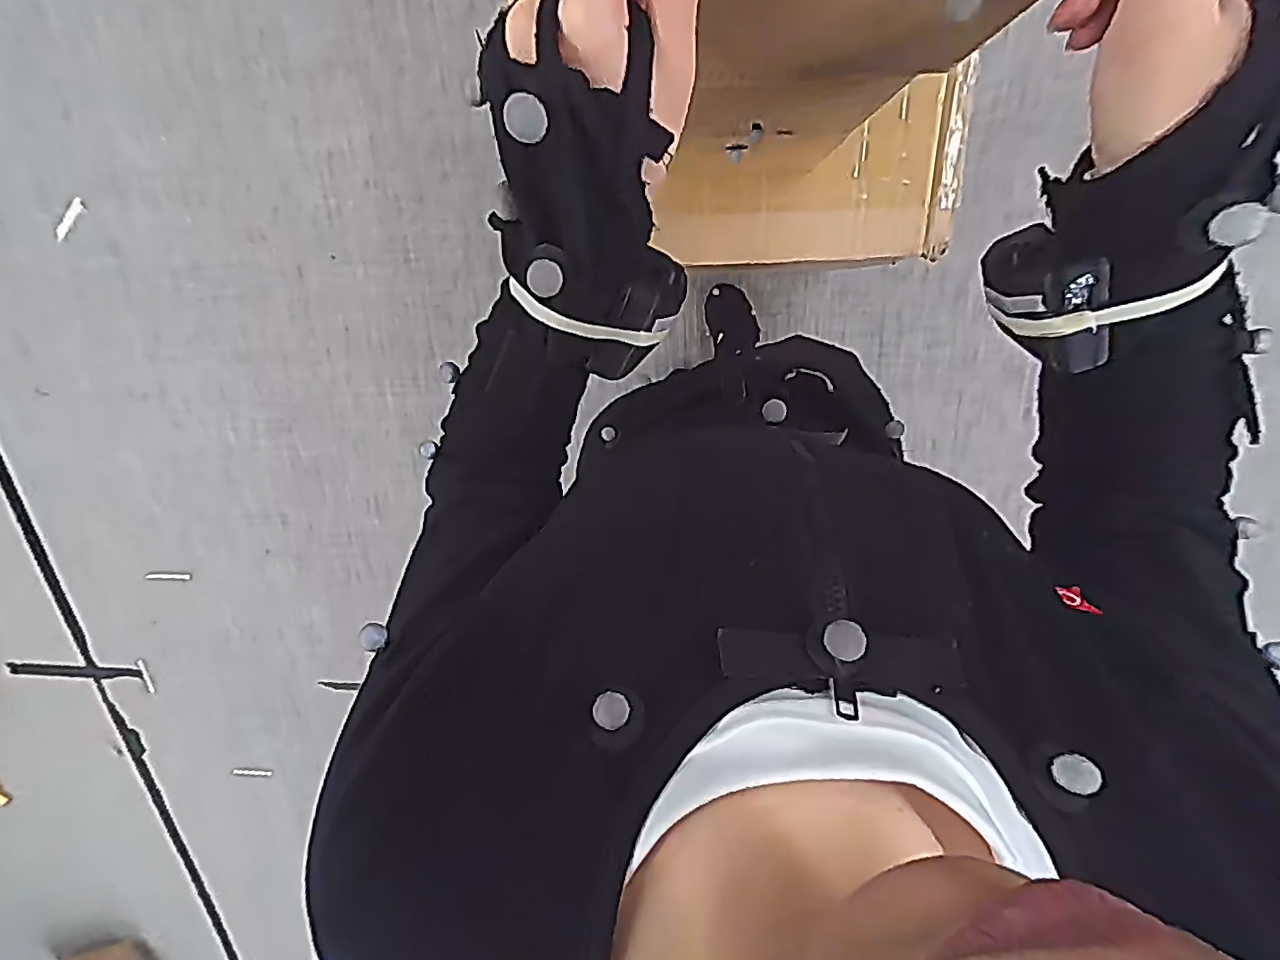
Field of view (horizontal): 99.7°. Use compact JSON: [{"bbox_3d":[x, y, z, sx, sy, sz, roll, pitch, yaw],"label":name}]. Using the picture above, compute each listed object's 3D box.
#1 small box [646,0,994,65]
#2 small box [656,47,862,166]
[{"bbox_3d":[0.088,-0.297,0.218,0.179,0.176,0.168,1,110,5],"label":"small box"},{"bbox_3d":[0.109,-0.416,0.527,0.179,0.176,0.168,1,110,5],"label":"small box"}]
